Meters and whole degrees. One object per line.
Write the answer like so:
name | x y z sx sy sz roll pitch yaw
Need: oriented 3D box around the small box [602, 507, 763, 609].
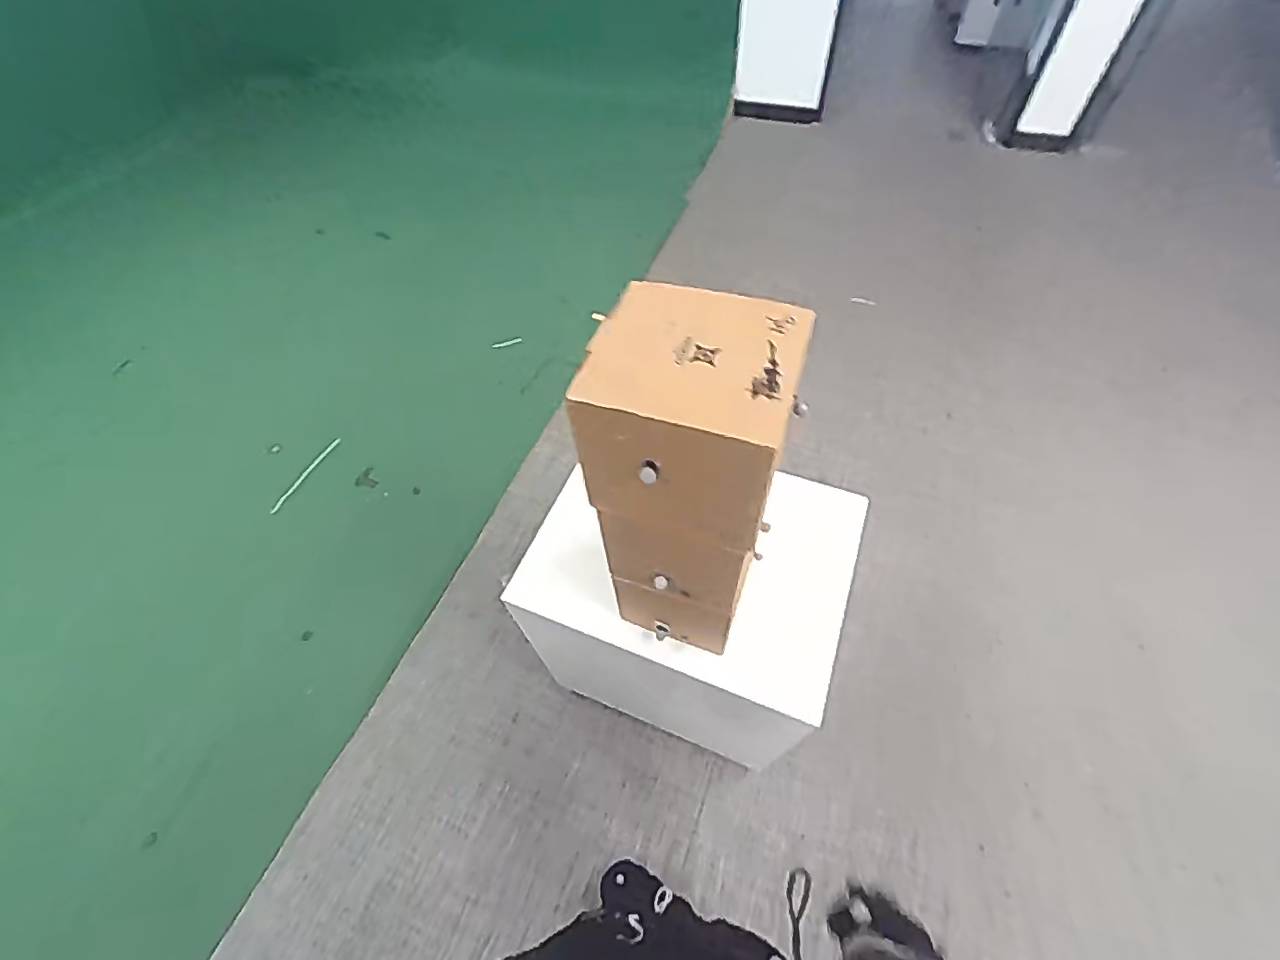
small box | 0.063 0.027 0.653 0.168 0.176 0.179 14 56 14

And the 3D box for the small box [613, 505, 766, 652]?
small box | 0.074 0.123 0.786 0.168 0.176 0.179 15 59 15

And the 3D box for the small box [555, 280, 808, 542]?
small box | 0.045 -0.061 0.516 0.179 0.176 0.168 14 58 15
